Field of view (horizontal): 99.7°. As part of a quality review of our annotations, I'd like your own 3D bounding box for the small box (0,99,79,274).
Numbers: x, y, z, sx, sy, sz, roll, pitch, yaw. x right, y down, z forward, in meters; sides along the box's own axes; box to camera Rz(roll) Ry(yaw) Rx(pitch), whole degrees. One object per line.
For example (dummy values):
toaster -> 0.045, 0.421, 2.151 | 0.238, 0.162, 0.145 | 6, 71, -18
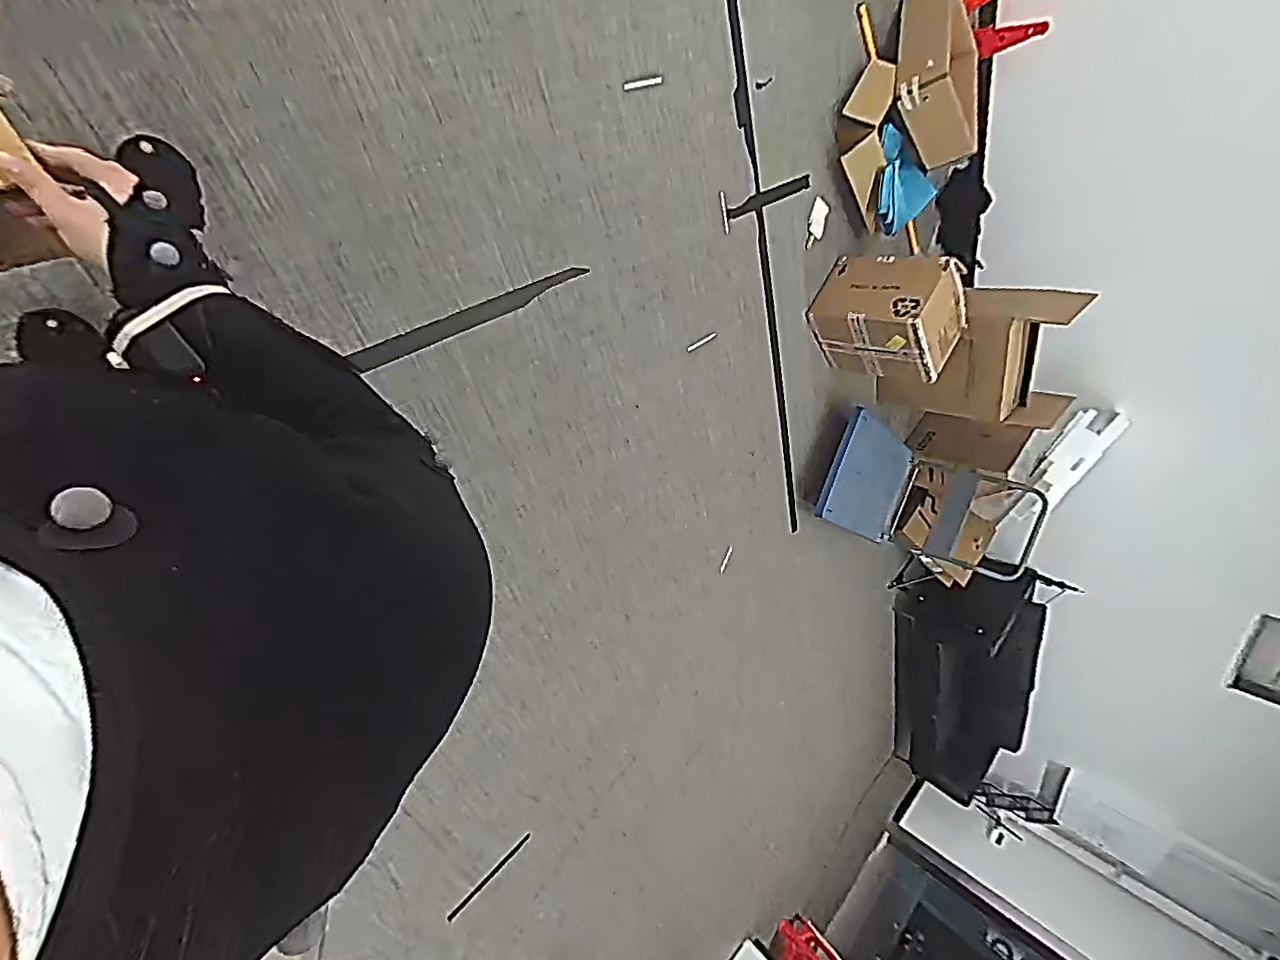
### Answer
small box -> -0.546, -0.243, 0.367 | 0.168, 0.176, 0.179 | -37, 115, -33
